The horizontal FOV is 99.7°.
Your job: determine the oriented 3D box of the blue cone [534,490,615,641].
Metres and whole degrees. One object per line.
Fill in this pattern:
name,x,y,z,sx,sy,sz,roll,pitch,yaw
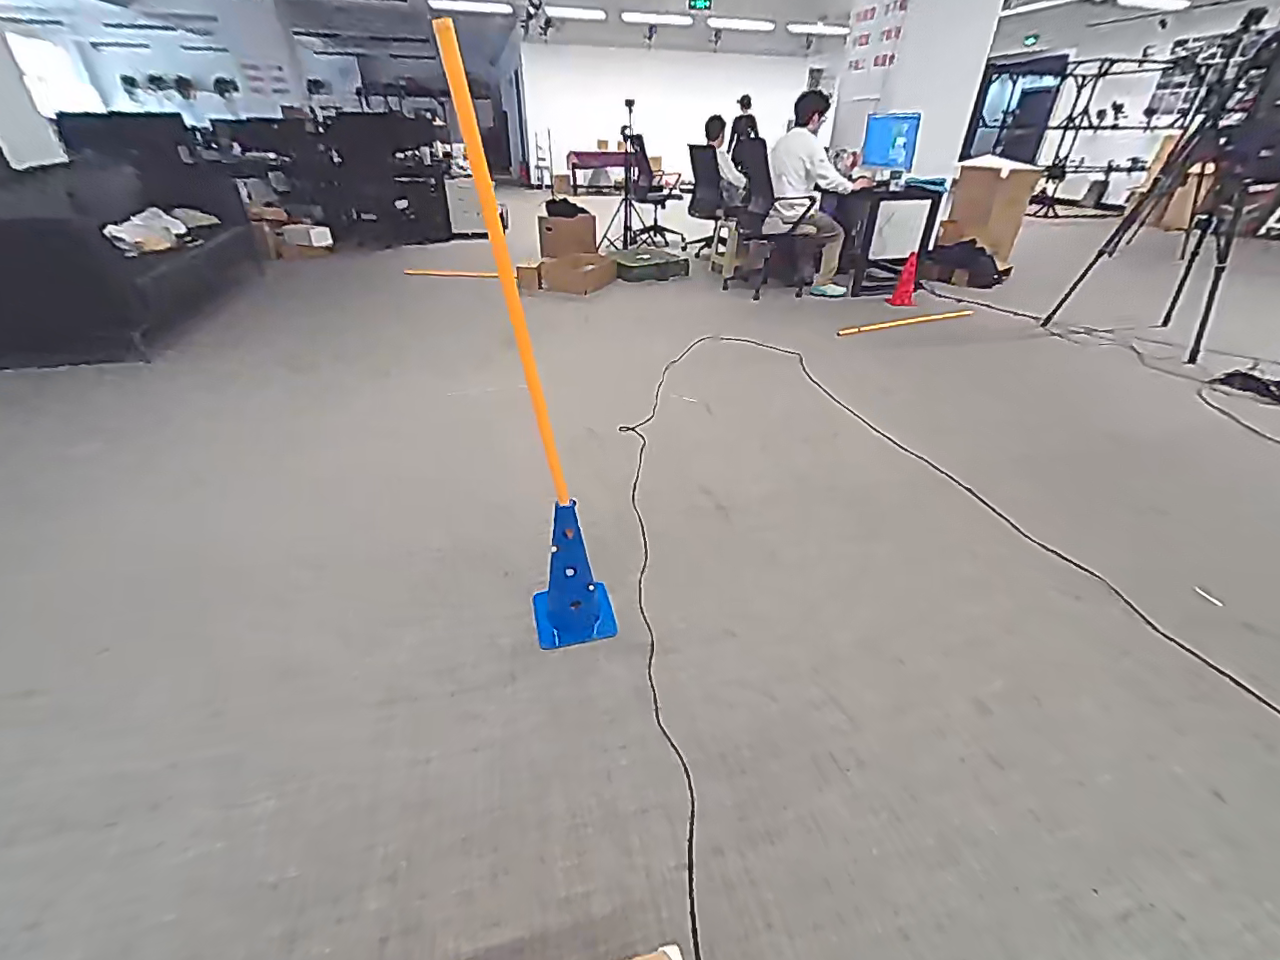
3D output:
blue cone,-0.172,0.195,1.310,0.193,0.380,0.192,-10,34,-14
